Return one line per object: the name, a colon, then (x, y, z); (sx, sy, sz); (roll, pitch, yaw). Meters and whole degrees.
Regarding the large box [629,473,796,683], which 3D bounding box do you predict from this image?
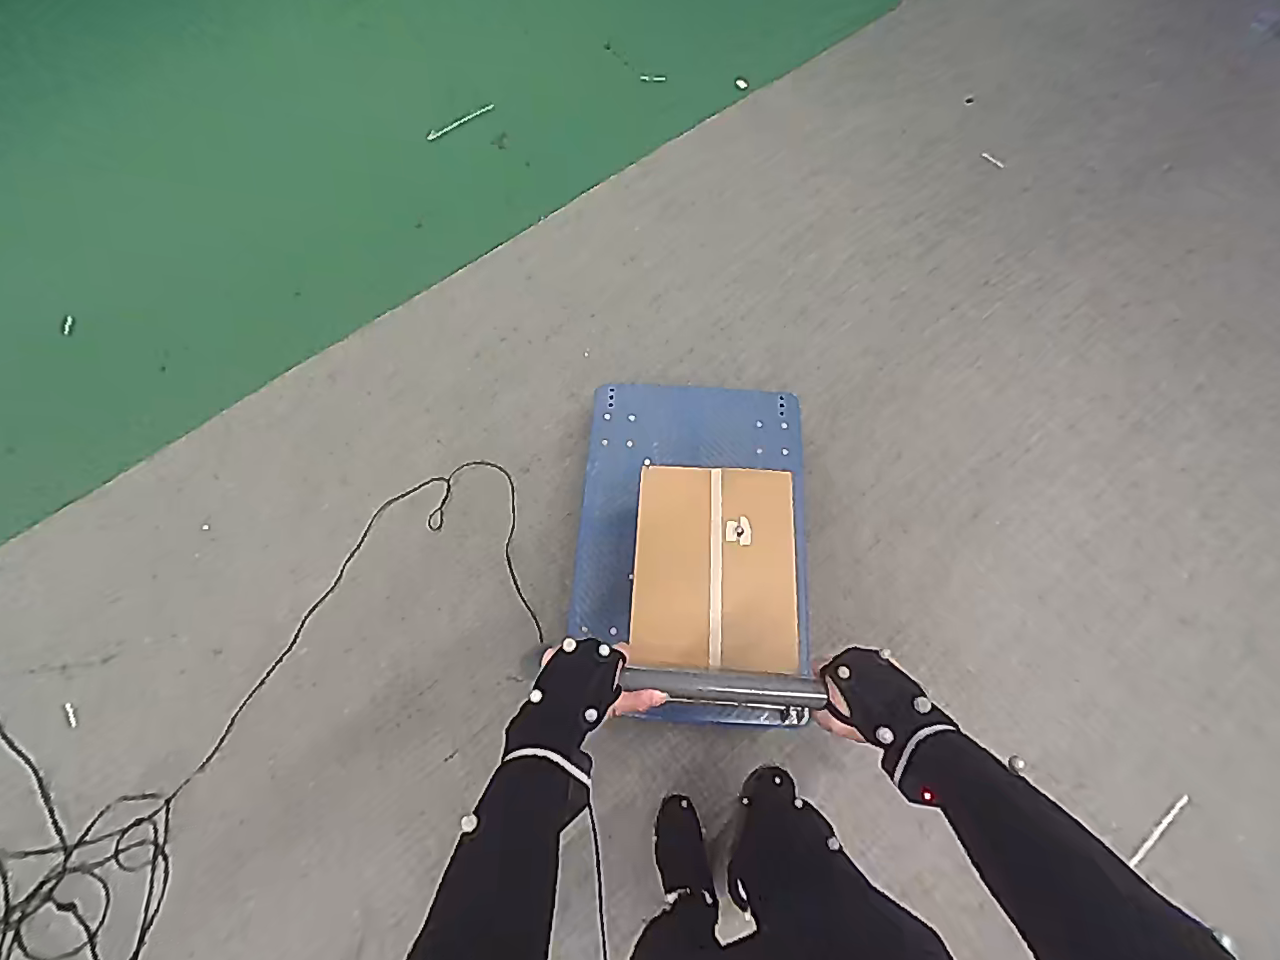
large box: (0.149, 0.231, 1.209); (0.320, 0.320, 0.408); (3, 67, 3)
